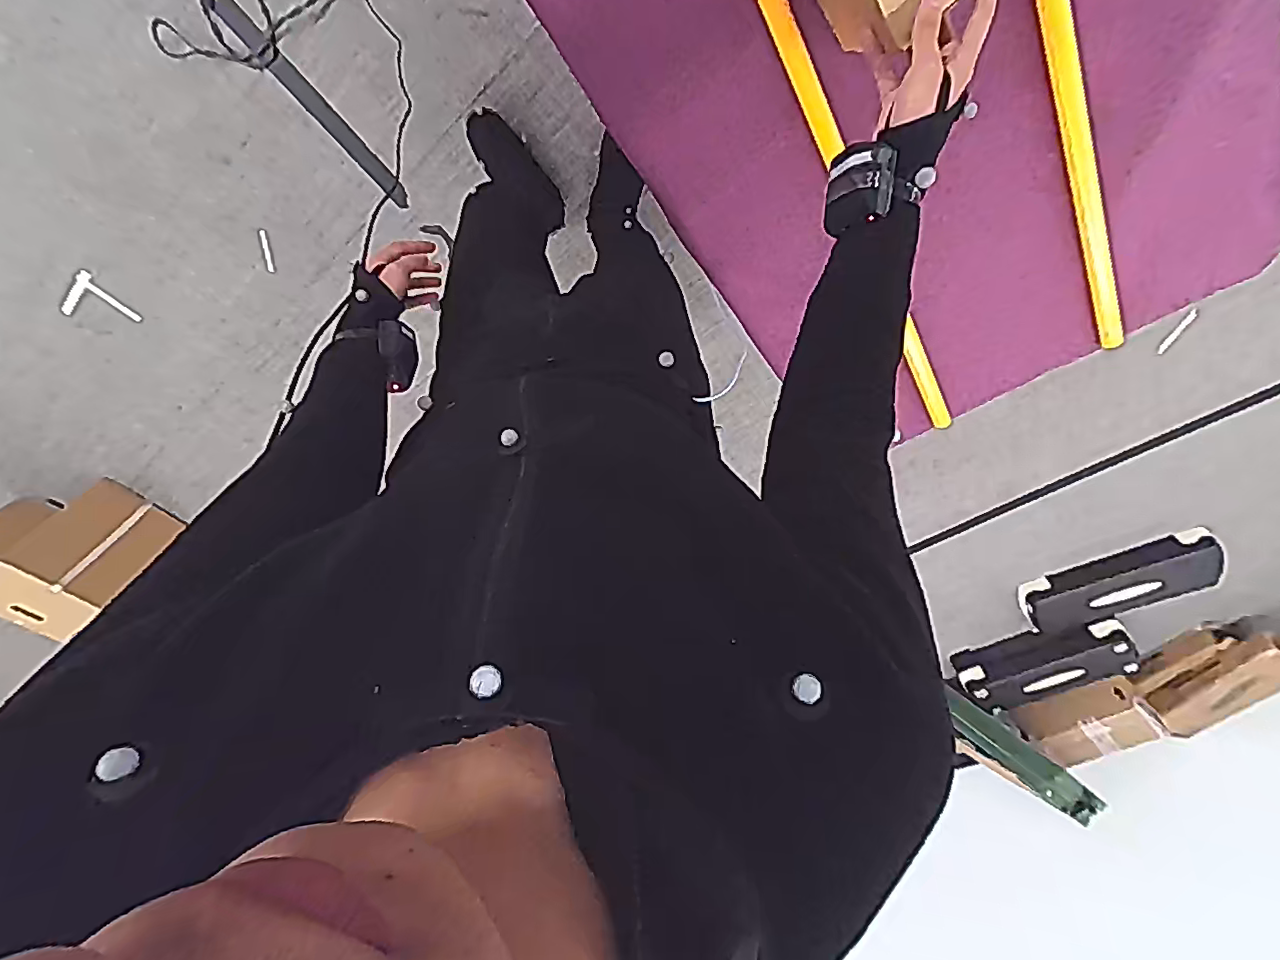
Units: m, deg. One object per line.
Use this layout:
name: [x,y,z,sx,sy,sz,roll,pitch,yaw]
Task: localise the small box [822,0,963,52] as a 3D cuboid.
small box: [0.222,-0.501,0.439,0.168,0.176,0.179,-35,122,26]
